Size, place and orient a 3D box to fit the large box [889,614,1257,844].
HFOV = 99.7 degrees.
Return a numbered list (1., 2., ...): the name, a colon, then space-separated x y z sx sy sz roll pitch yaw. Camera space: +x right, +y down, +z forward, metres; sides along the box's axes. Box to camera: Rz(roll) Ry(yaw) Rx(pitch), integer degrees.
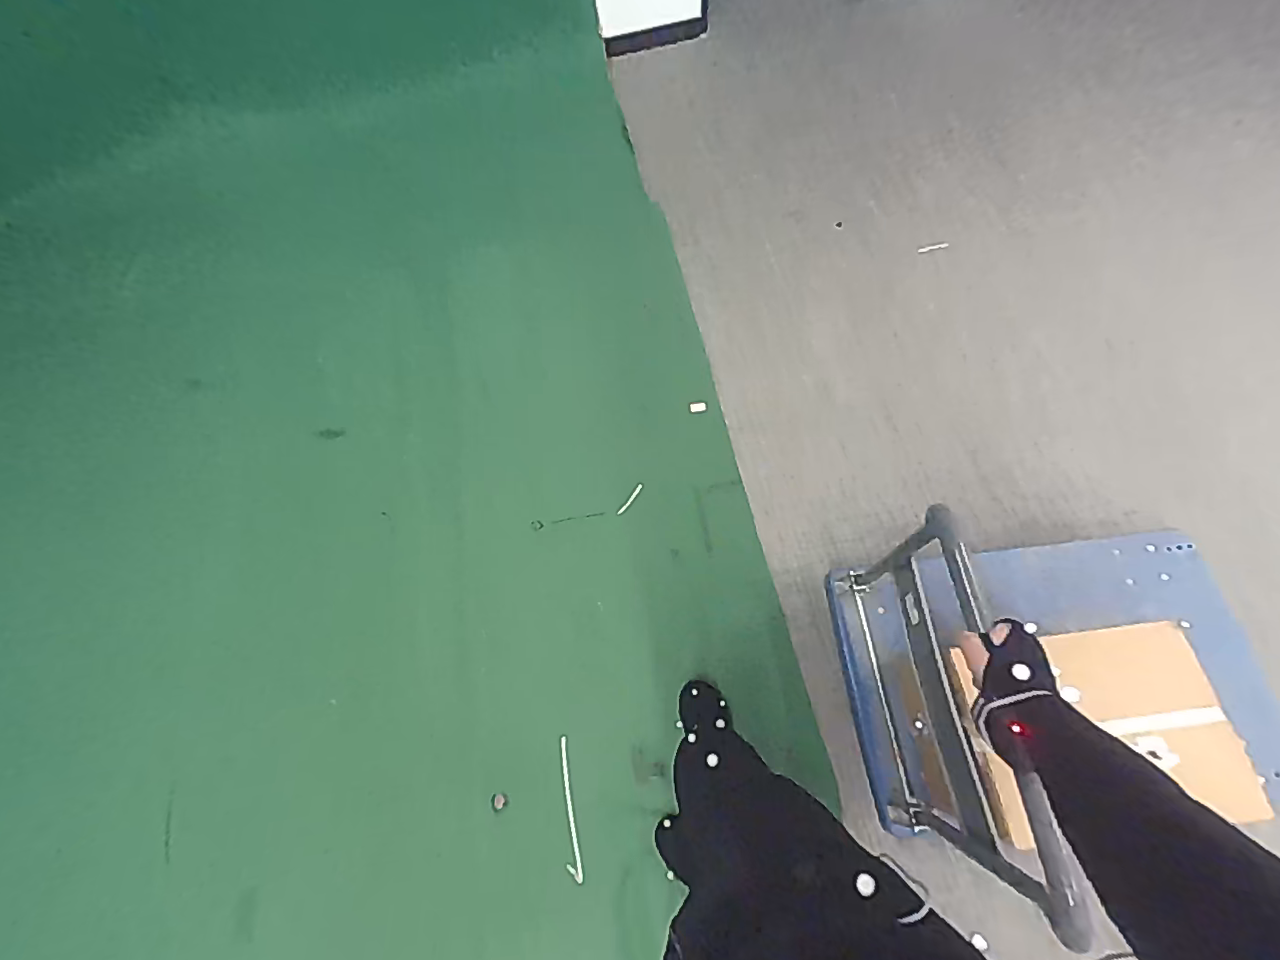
1. large box: 0.776 0.467 1.053 0.408 0.320 0.320 -8 68 1
